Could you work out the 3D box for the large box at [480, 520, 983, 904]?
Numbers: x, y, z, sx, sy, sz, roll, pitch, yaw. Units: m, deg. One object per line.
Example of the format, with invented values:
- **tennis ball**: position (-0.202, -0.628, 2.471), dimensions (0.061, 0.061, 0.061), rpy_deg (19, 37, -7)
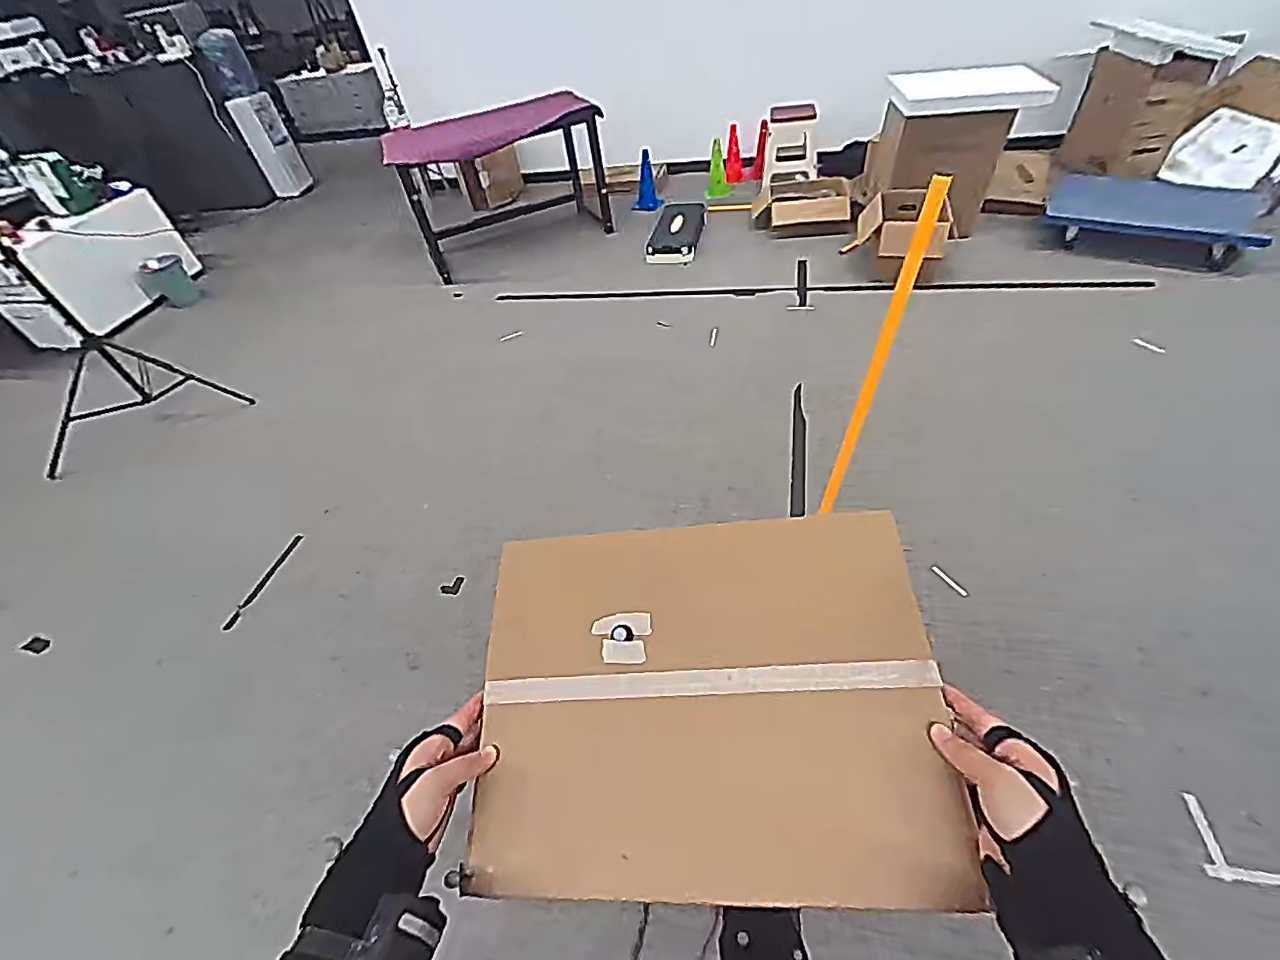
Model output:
- **large box**: position (0.086, 0.268, 0.624), dimensions (0.408, 0.320, 0.320), rpy_deg (-7, 58, 10)
